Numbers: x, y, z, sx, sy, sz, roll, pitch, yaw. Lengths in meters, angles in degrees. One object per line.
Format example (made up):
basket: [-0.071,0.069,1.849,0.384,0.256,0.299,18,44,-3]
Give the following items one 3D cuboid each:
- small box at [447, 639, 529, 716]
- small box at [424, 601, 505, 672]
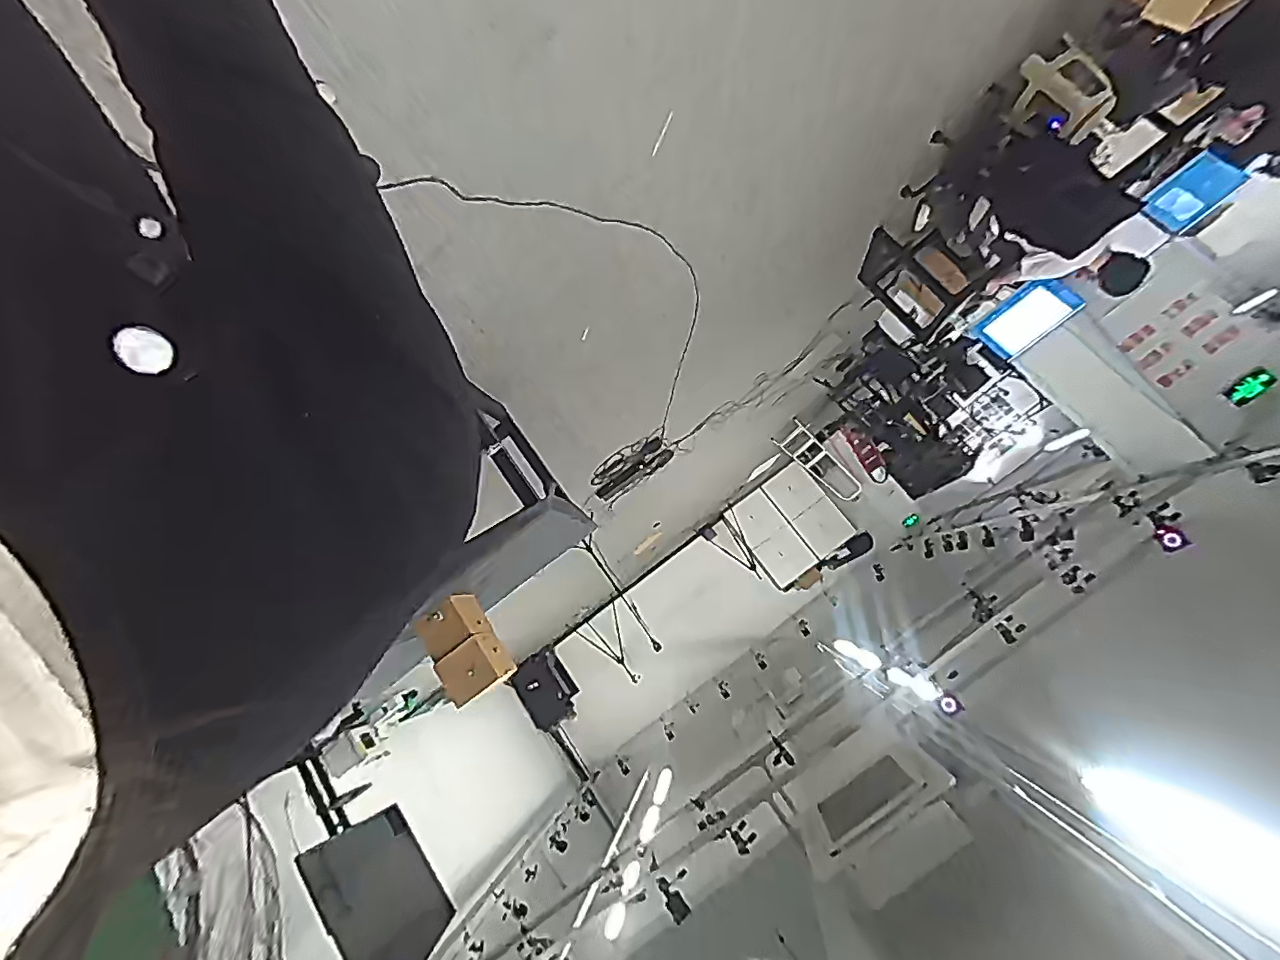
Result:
small box: [-0.518,0.658,1.840,0.179,0.176,0.168,-39,167,3]
small box: [-0.613,0.540,1.894,0.168,0.176,0.179,-40,164,3]
